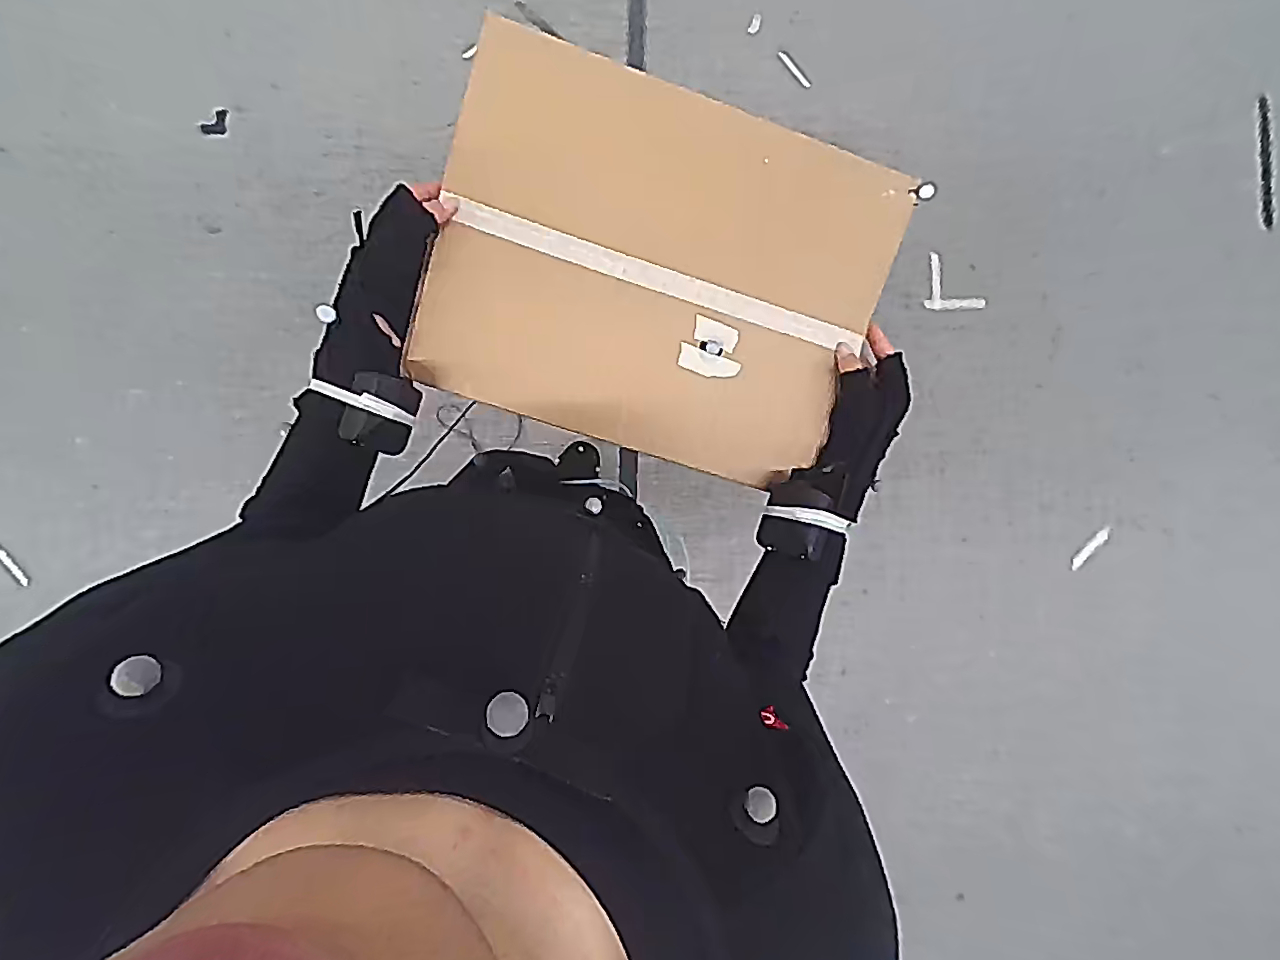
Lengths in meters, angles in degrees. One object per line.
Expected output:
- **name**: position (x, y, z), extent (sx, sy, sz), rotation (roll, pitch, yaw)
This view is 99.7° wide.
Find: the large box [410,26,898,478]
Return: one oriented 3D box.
- **large box**: position (0.001, -0.221, 0.651), extent (0.408, 0.320, 0.320), rotation (16, 99, -7)
